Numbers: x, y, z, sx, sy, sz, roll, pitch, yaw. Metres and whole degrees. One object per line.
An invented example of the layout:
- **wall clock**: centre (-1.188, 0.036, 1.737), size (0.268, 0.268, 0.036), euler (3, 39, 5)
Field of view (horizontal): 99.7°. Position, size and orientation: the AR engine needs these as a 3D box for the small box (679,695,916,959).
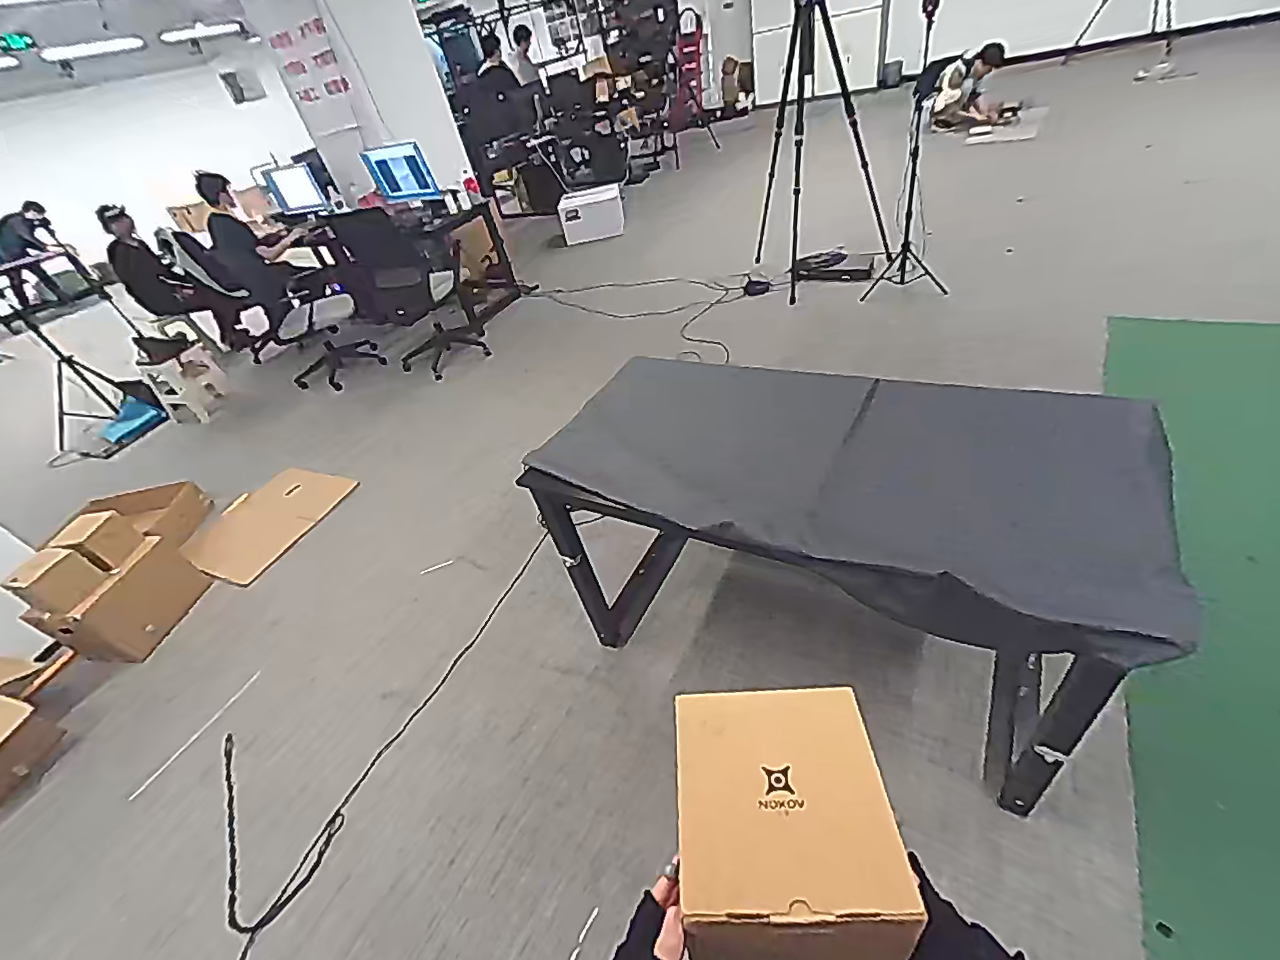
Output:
- **small box**: centre (0.121, 0.323, 0.493), size (0.168, 0.176, 0.179), euler (-4, 35, 5)
